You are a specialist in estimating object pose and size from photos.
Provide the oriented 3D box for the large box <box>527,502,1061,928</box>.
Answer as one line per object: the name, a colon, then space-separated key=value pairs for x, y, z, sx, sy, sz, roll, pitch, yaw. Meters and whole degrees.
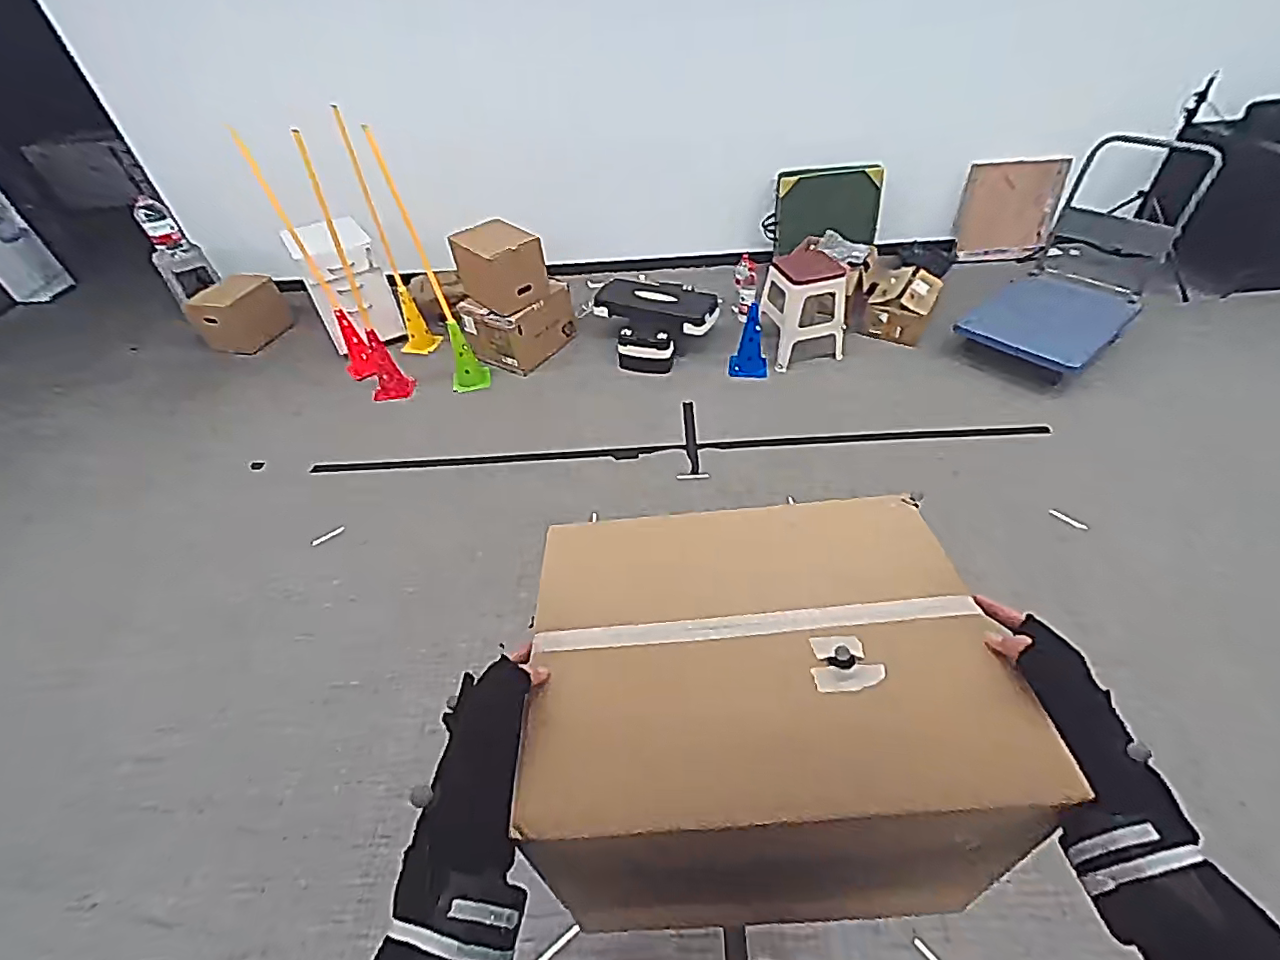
large box: x=0.117 y=0.256 z=0.602 sx=0.408 sy=0.320 sz=0.320 roll=-5 pitch=40 yaw=2
